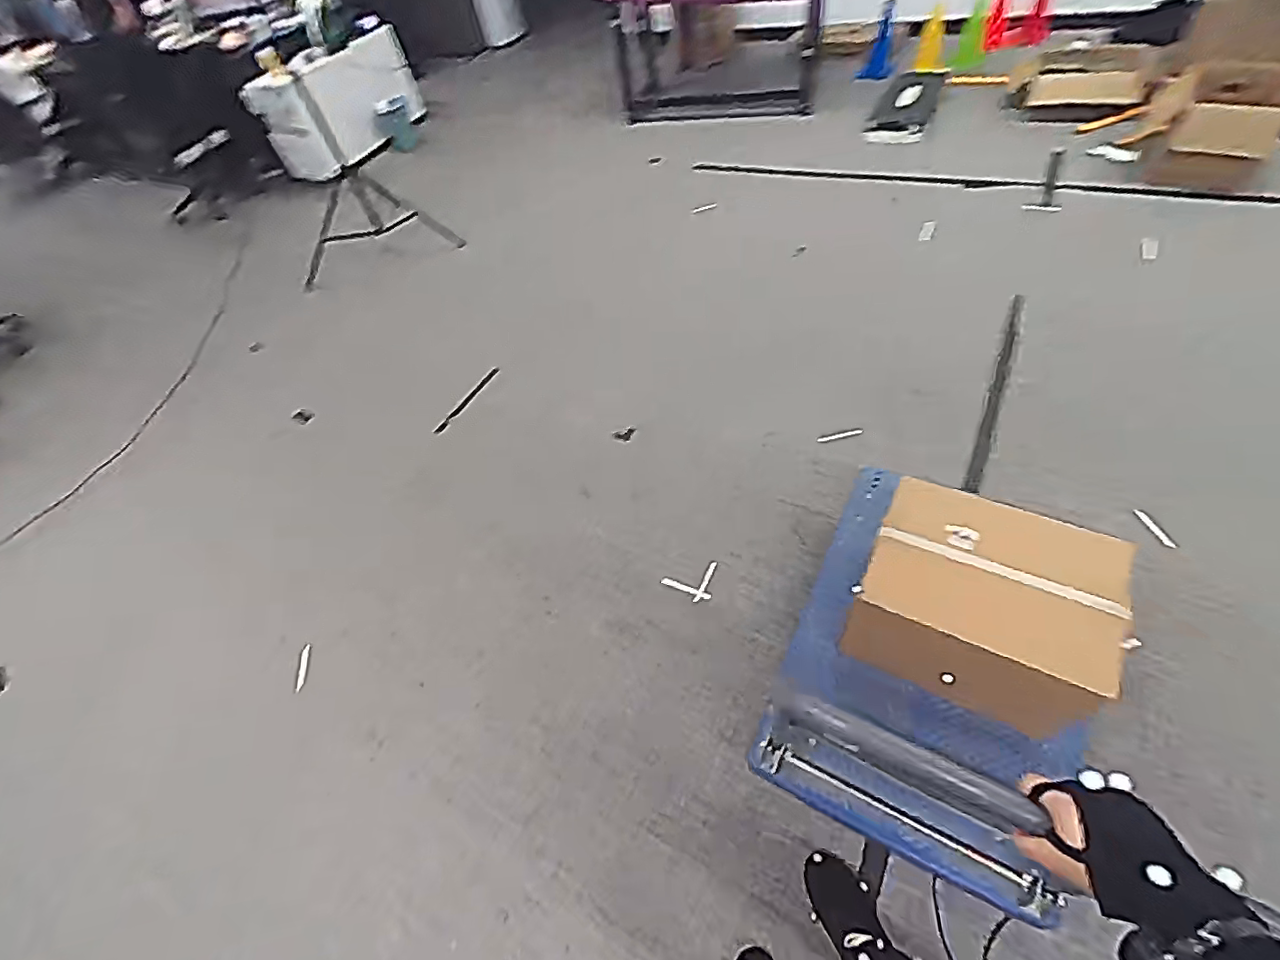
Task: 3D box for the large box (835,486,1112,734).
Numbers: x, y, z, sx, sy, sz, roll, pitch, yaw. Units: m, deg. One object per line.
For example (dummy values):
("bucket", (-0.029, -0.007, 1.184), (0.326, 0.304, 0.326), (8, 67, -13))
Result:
("large box", (0.670, 0.270, 1.138), (0.408, 0.320, 0.320), (19, 59, 25))
